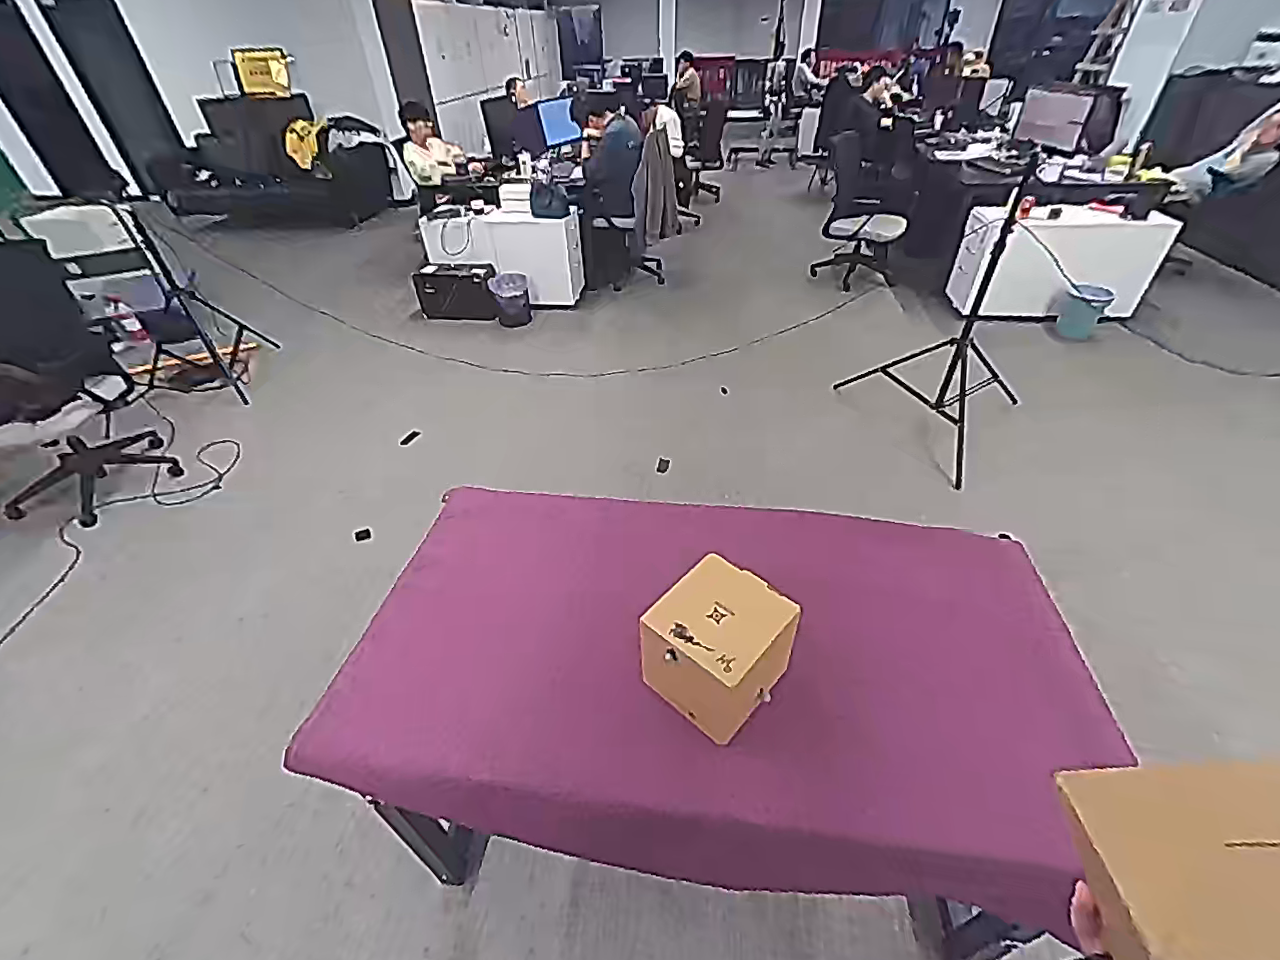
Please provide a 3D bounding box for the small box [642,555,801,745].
[{"bbox_3d":[0.117,0.255,0.824,0.168,0.176,0.179,29,48,33],"label":"small box"}]

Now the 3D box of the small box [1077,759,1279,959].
[{"bbox_3d":[0.340,0.249,0.247,0.168,0.176,0.179,-16,-8,25],"label":"small box"}]
